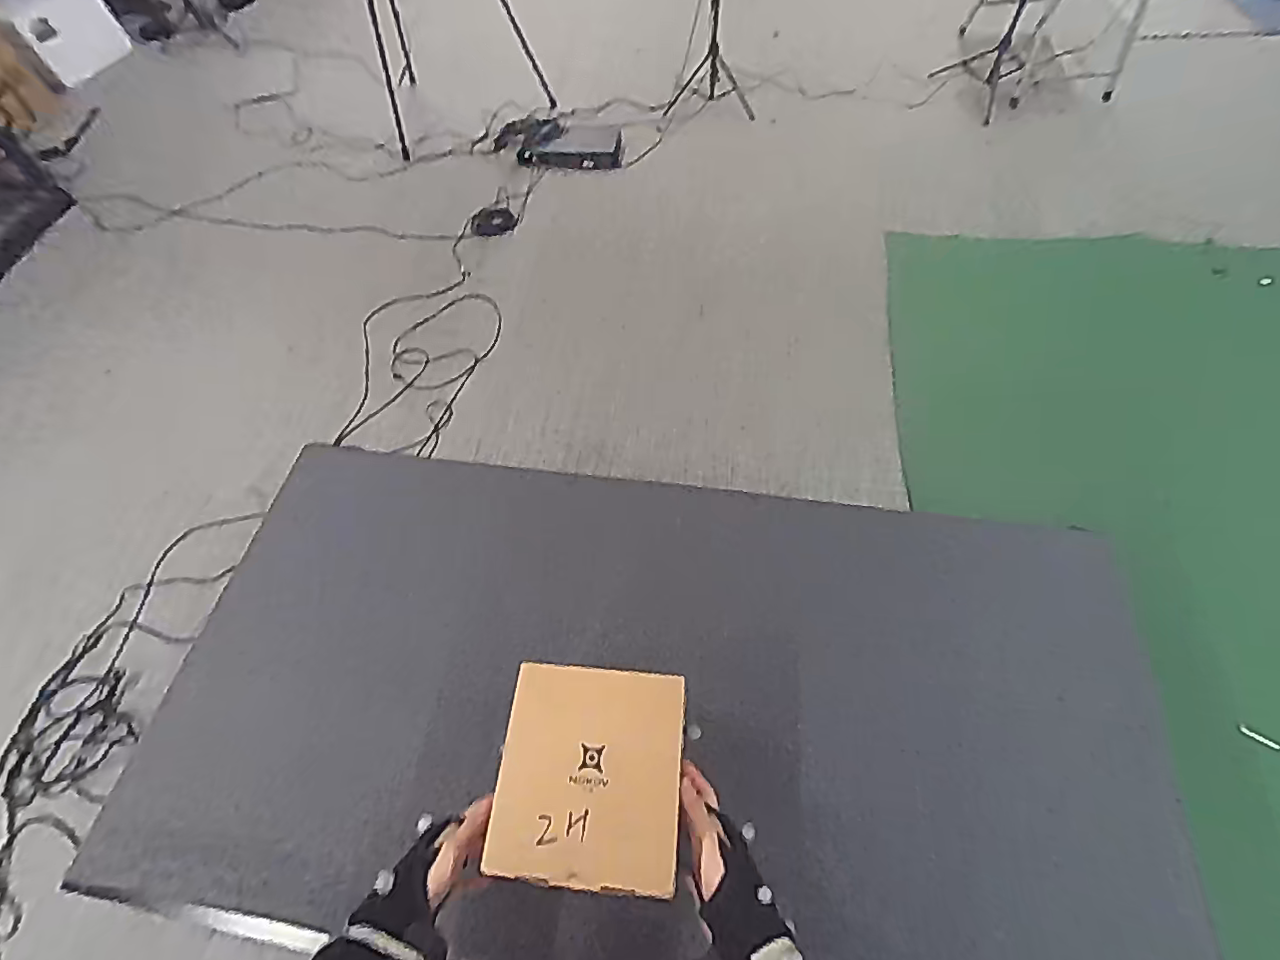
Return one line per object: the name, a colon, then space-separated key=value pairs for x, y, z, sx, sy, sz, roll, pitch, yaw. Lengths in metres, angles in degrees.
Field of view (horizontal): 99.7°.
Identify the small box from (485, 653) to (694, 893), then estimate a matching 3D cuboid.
small box: x=-0.035 y=0.292 z=0.550 sx=0.168 sy=0.176 sz=0.179 roll=3 pitch=59 yaw=7
